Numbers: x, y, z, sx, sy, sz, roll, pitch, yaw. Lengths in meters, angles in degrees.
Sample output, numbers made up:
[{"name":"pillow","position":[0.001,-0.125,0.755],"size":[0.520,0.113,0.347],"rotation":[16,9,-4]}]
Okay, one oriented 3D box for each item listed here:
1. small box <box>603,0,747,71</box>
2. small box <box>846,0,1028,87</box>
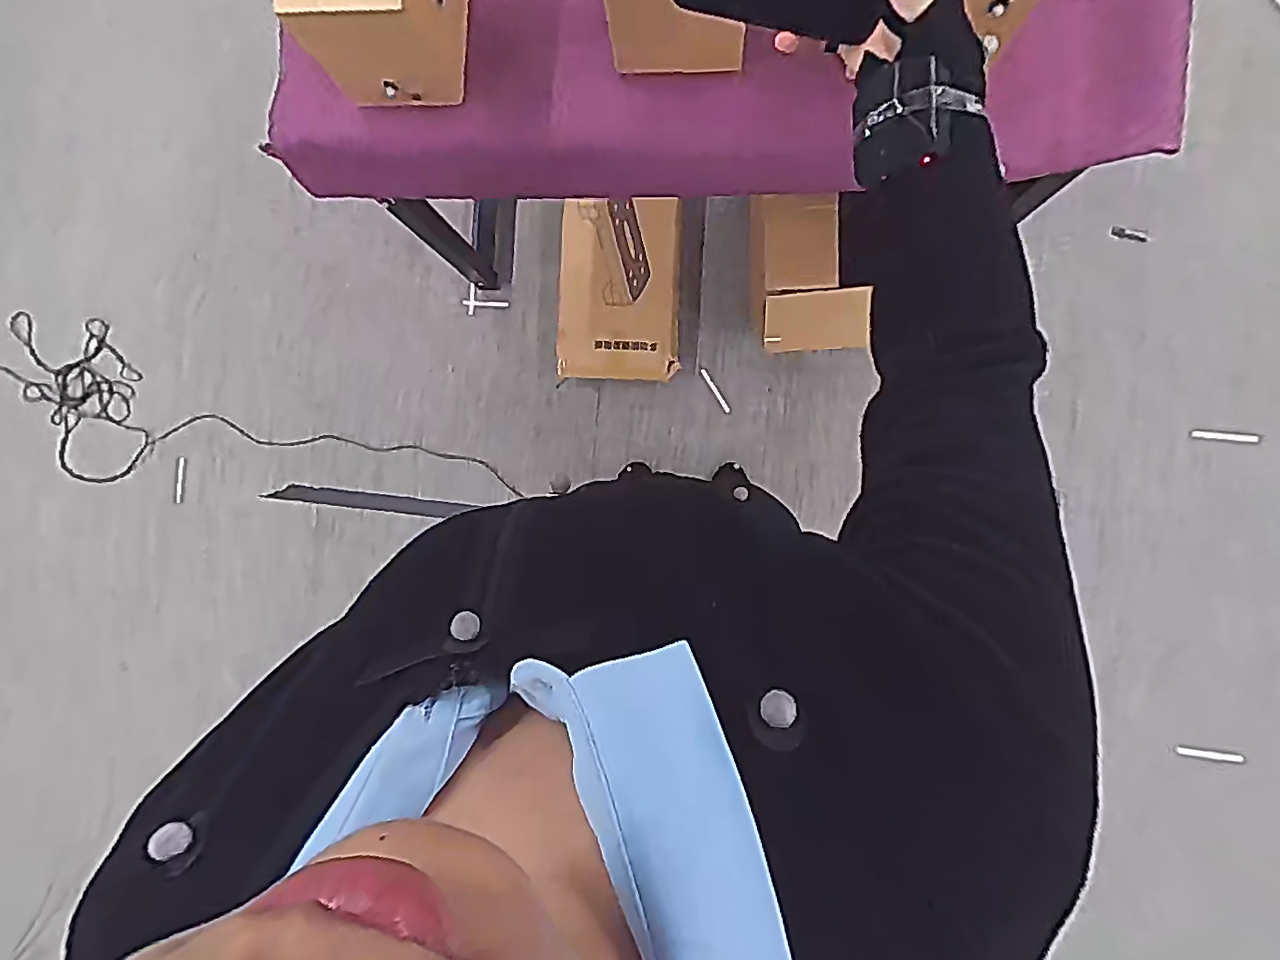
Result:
[{"name":"small box","position":[0.048,-0.650,0.671],"size":[0.179,0.176,0.168],"rotation":[3,88,6]},{"name":"small box","position":[0.363,-0.609,0.642],"size":[0.179,0.176,0.168],"rotation":[10,91,5]}]
